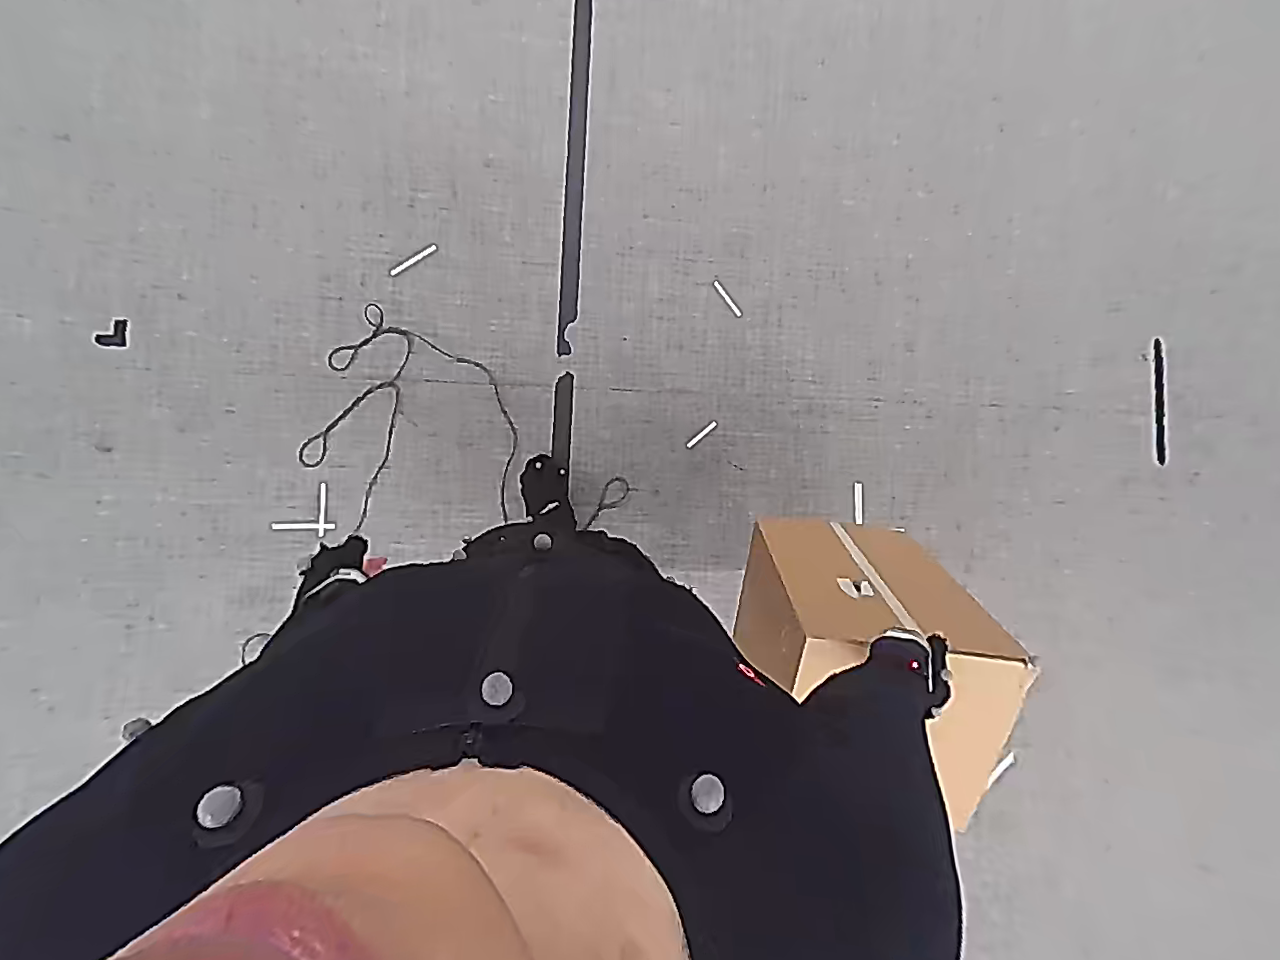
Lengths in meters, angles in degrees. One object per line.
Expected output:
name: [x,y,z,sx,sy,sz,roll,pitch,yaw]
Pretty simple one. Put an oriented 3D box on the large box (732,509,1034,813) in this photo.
large box: [0.367,0.288,0.963,0.320,0.408,0.320,7,111,-1]
